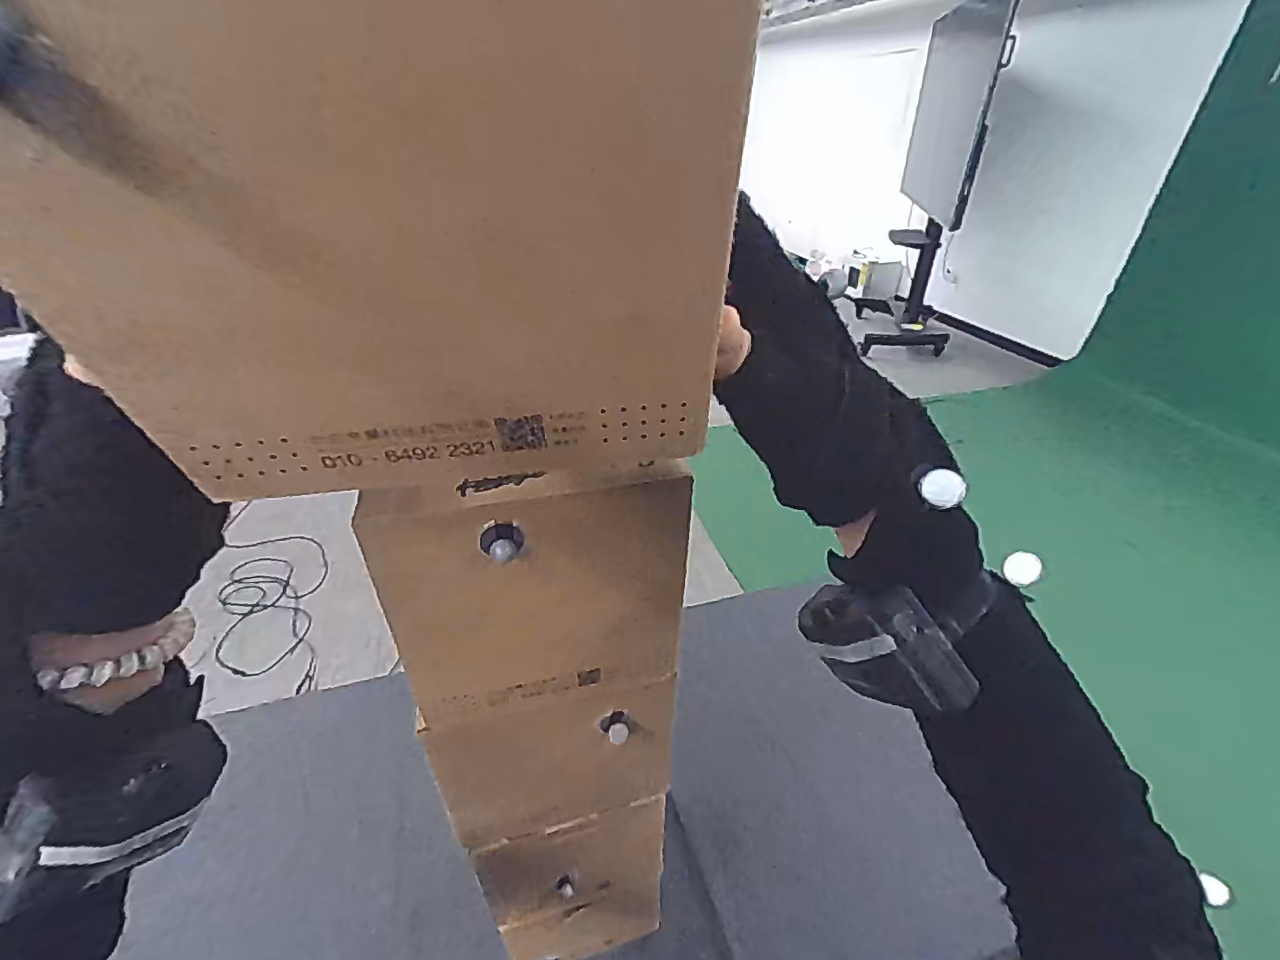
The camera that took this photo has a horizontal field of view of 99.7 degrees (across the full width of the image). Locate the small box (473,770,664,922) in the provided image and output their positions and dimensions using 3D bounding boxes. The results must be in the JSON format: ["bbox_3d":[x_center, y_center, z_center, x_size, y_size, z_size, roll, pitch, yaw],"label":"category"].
[{"bbox_3d":[-0.081,0.307,0.566,0.168,0.176,0.179,-10,35,-14],"label":"small box"}]

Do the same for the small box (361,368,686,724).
[{"bbox_3d":[-0.074,0.034,0.383,0.168,0.176,0.179,-8,34,-12],"label":"small box"}]

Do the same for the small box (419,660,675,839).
[{"bbox_3d":[-0.079,0.172,0.473,0.179,0.176,0.168,-9,34,-12],"label":"small box"}]

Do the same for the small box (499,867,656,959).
[{"bbox_3d":[-0.080,0.442,0.656,0.168,0.176,0.179,-10,34,-14],"label":"small box"}]
